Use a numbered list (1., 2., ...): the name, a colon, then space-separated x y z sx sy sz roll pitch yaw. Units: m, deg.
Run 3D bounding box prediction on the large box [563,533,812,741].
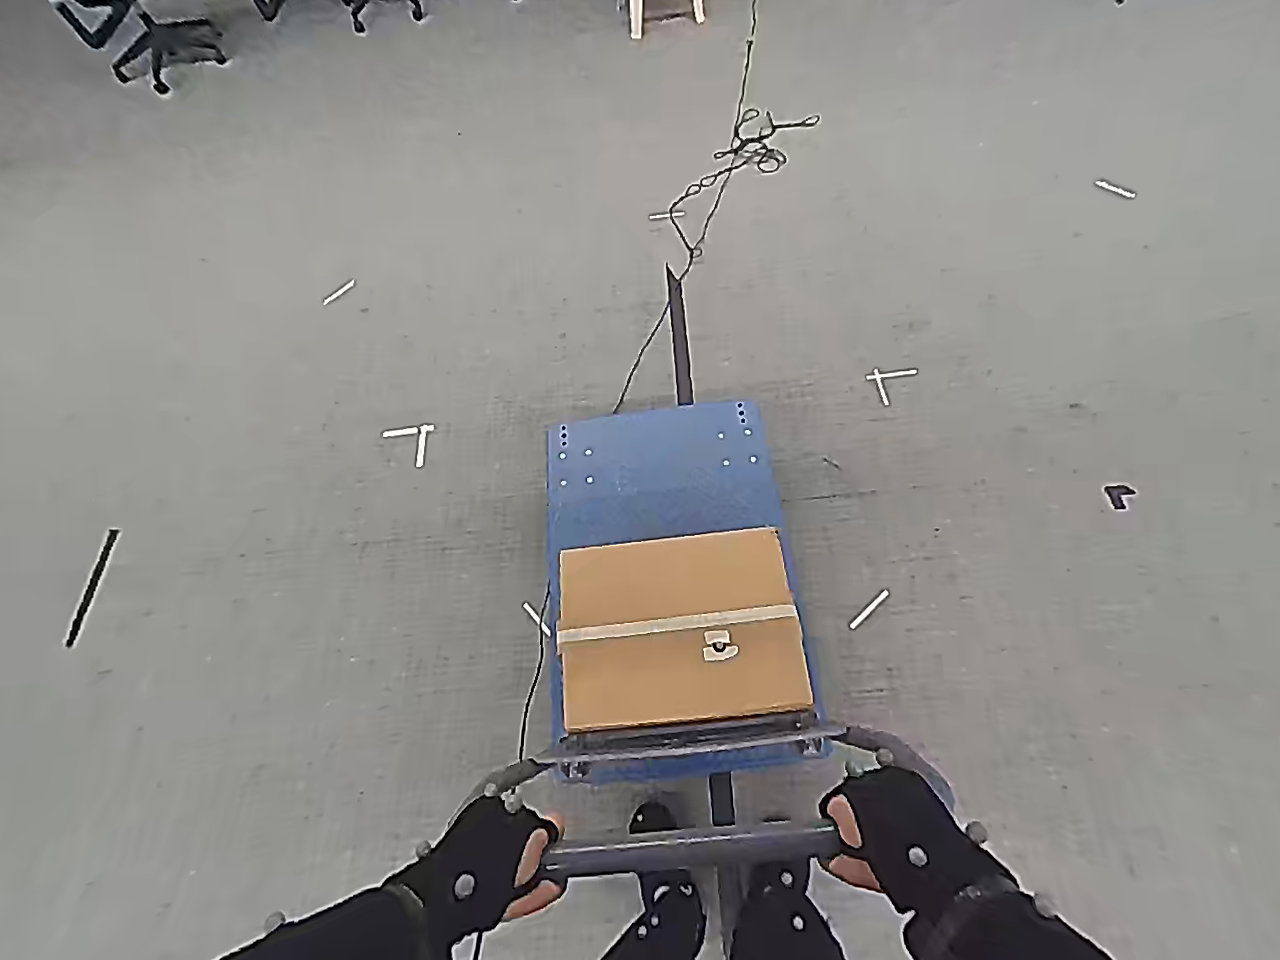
1. large box: 0.079 0.326 1.077 0.408 0.320 0.320 -7 65 2
